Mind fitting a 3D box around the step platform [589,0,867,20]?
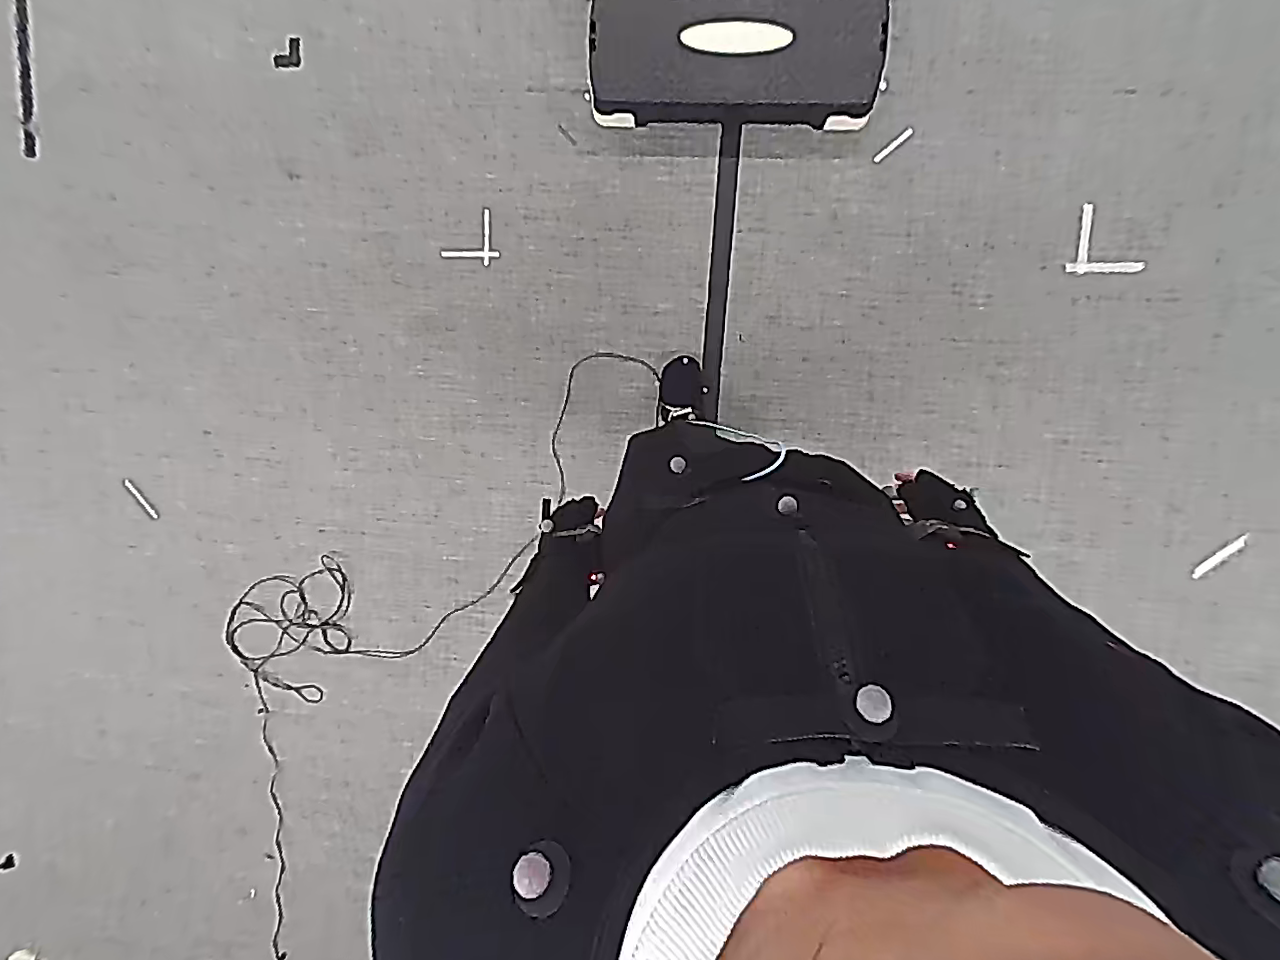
[{"bbox_3d":[0.203,-1.233,1.182,0.684,0.204,0.286,2,98,3],"label":"step platform"}]
